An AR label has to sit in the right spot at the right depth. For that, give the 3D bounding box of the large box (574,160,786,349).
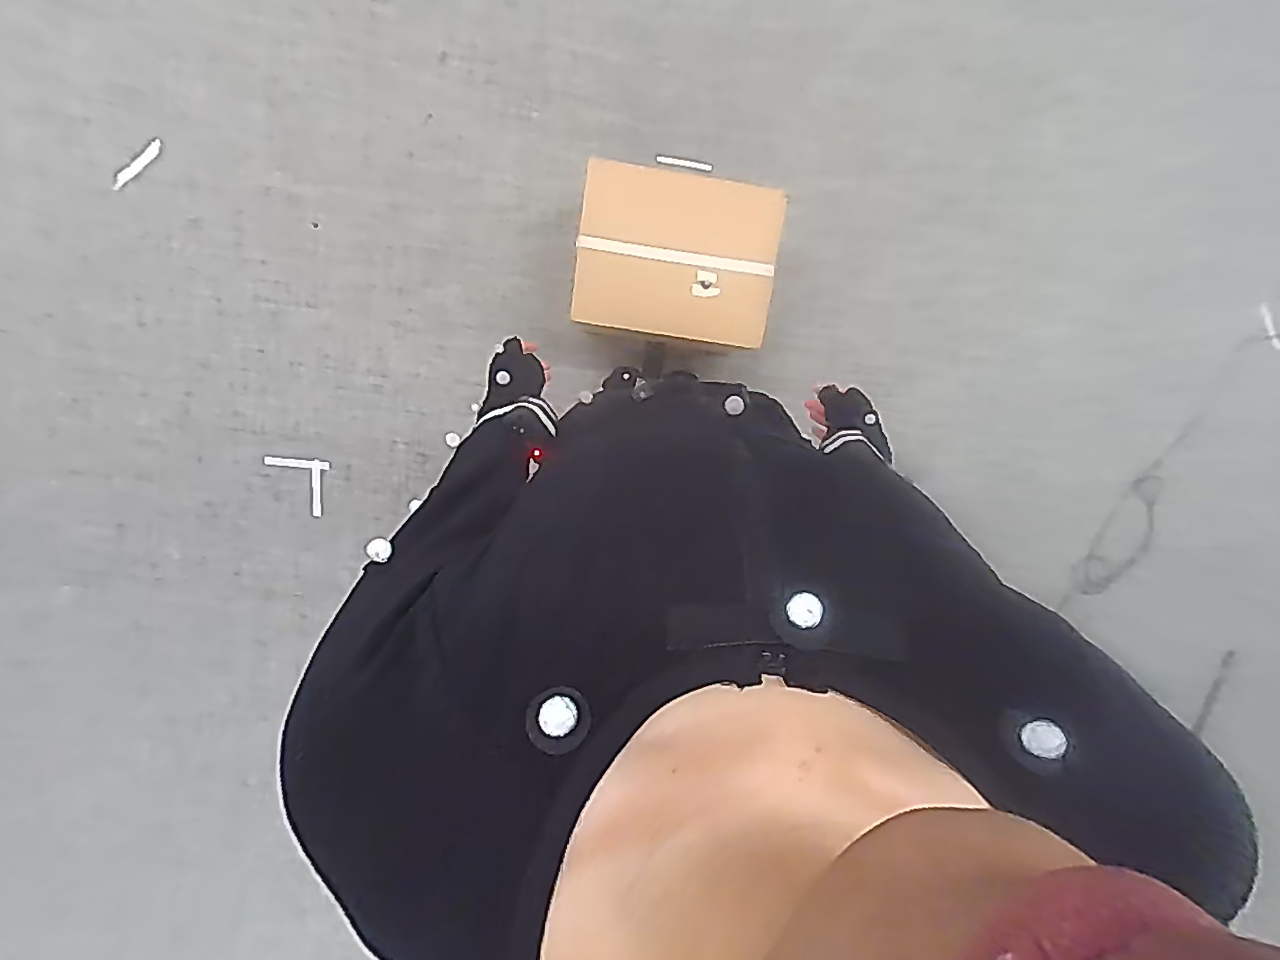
[{"bbox_3d":[0.070,-0.485,1.240,0.408,0.320,0.320,7,102,-4],"label":"large box"}]
